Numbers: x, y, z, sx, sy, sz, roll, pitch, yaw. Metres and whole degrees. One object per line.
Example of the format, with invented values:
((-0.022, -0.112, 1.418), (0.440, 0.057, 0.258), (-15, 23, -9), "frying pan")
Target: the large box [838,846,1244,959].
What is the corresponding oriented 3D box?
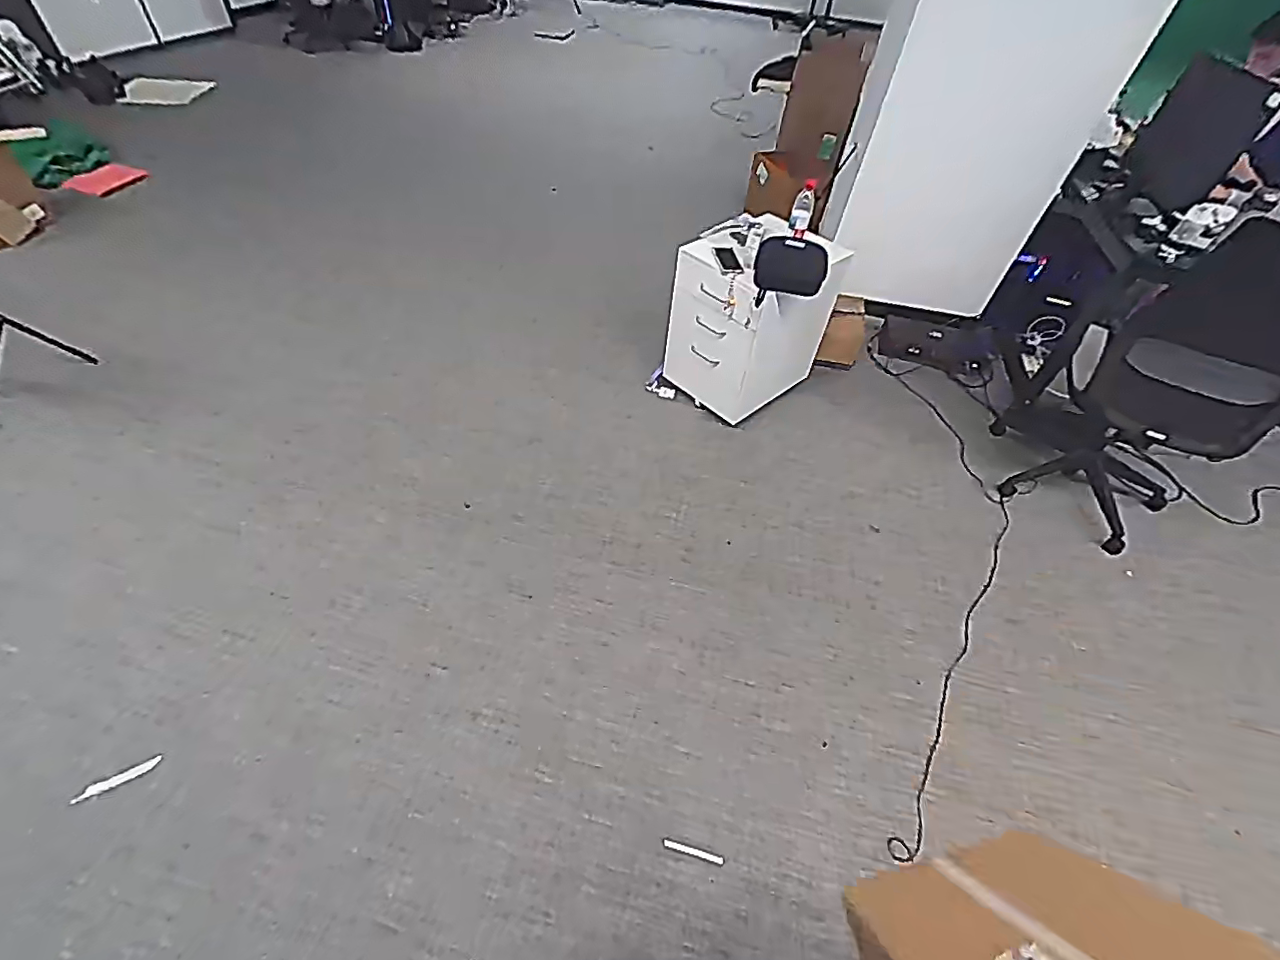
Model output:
((0.484, 0.683, 0.592), (0.320, 0.408, 0.320), (-14, 75, -6), "large box")
